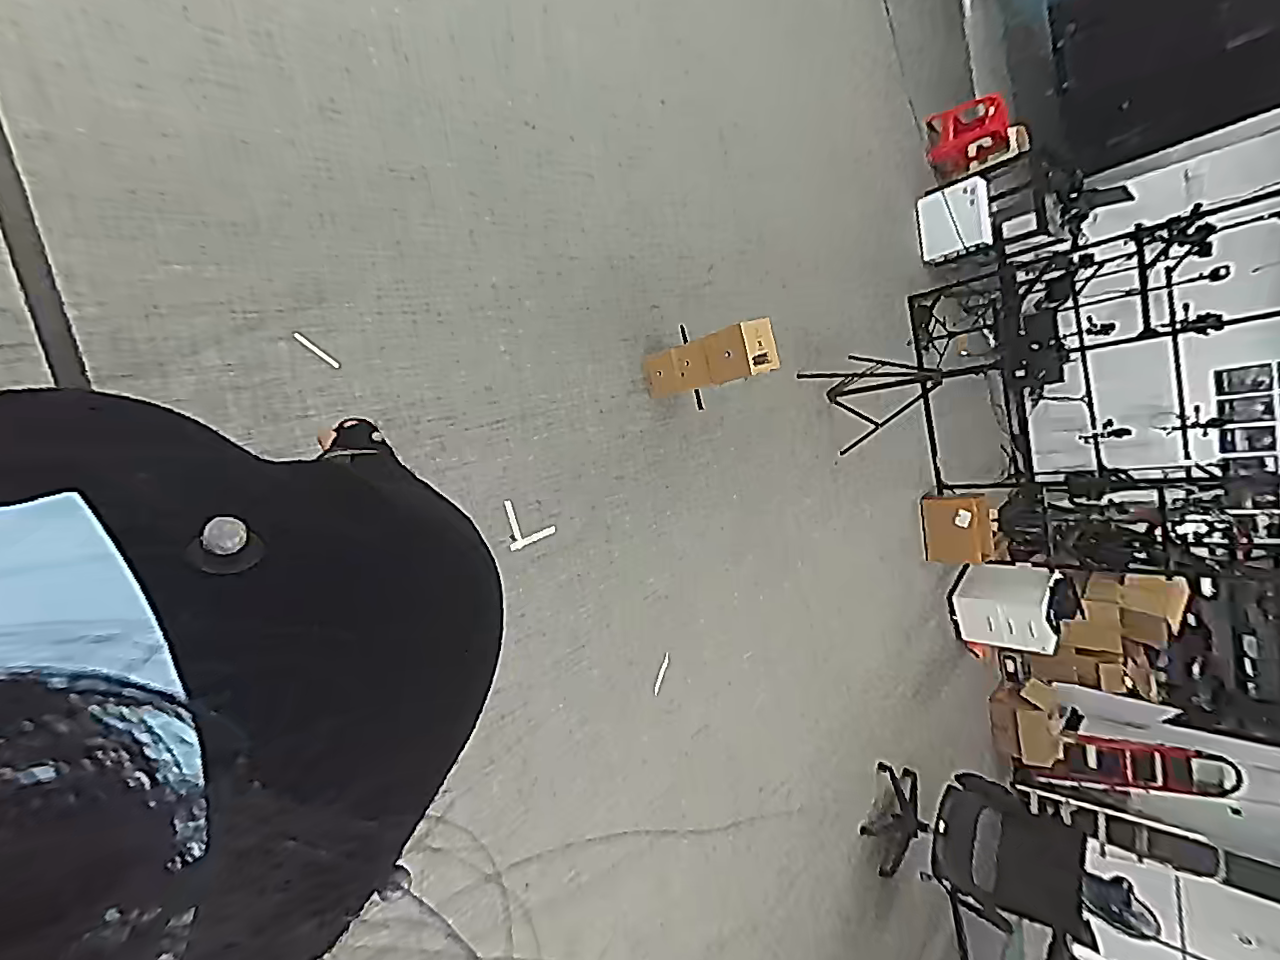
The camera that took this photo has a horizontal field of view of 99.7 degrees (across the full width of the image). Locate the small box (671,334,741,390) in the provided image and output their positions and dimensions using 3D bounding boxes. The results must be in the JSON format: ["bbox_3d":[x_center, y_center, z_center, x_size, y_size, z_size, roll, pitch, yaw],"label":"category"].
[{"bbox_3d":[0.242,-0.434,1.991,0.179,0.176,0.168,-19,100,-40],"label":"small box"}]

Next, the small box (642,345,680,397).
[{"bbox_3d":[0.126,-0.428,2.105,0.179,0.176,0.168,-23,103,-41],"label":"small box"}]
